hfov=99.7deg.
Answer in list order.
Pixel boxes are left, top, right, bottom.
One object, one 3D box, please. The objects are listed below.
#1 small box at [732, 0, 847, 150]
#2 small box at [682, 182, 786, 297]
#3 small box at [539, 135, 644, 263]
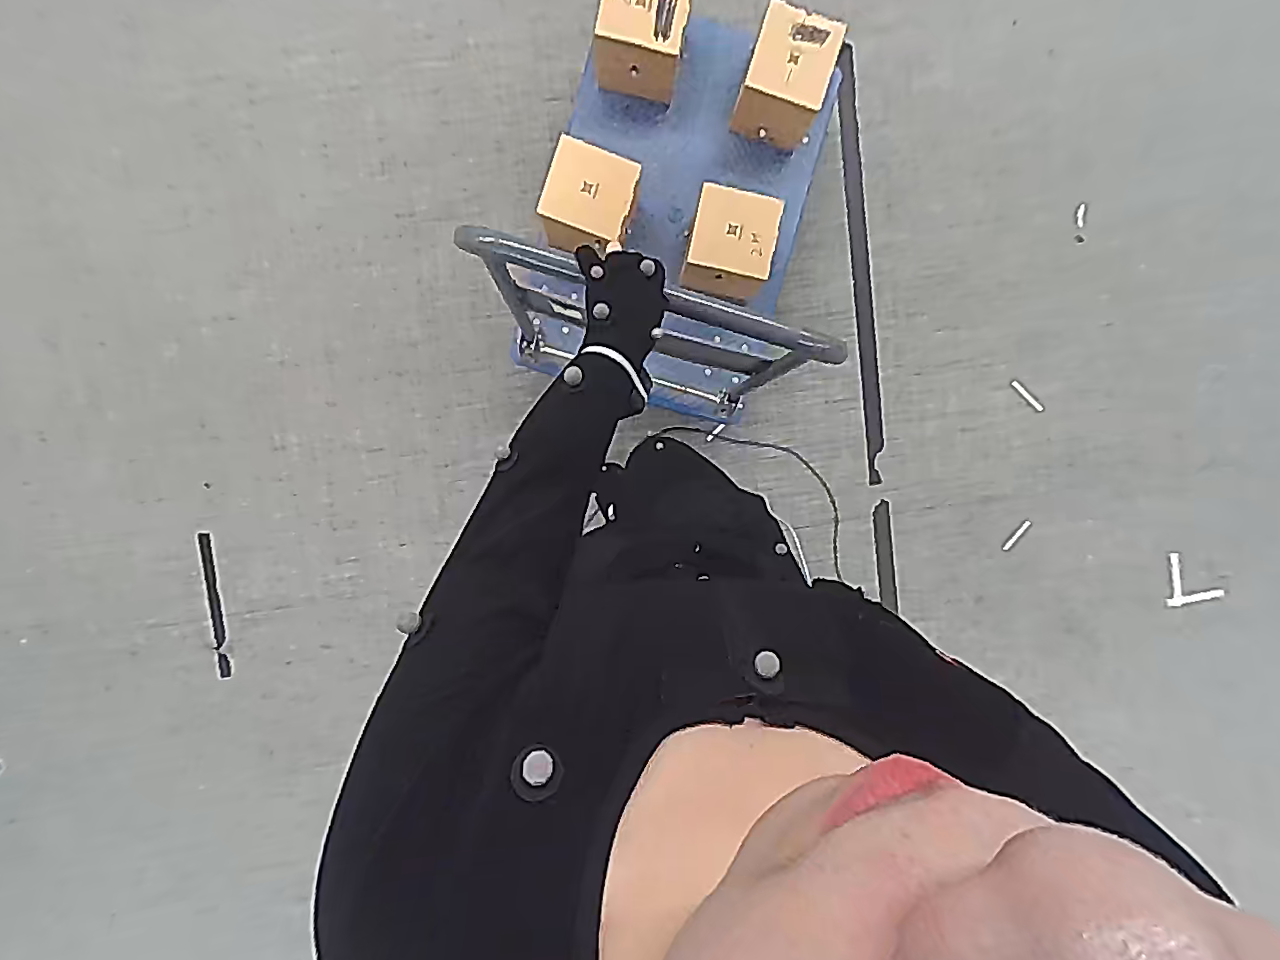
[{"bbox_3d":[0.312,-0.862,1.166,0.168,0.176,0.179,18,95,-4],"label":"small box"},{"bbox_3d":[0.196,-0.516,1.188,0.179,0.176,0.168,12,94,-3],"label":"small box"},{"bbox_3d":[-0.102,-0.594,1.170,0.179,0.176,0.168,19,93,-5],"label":"small box"}]
